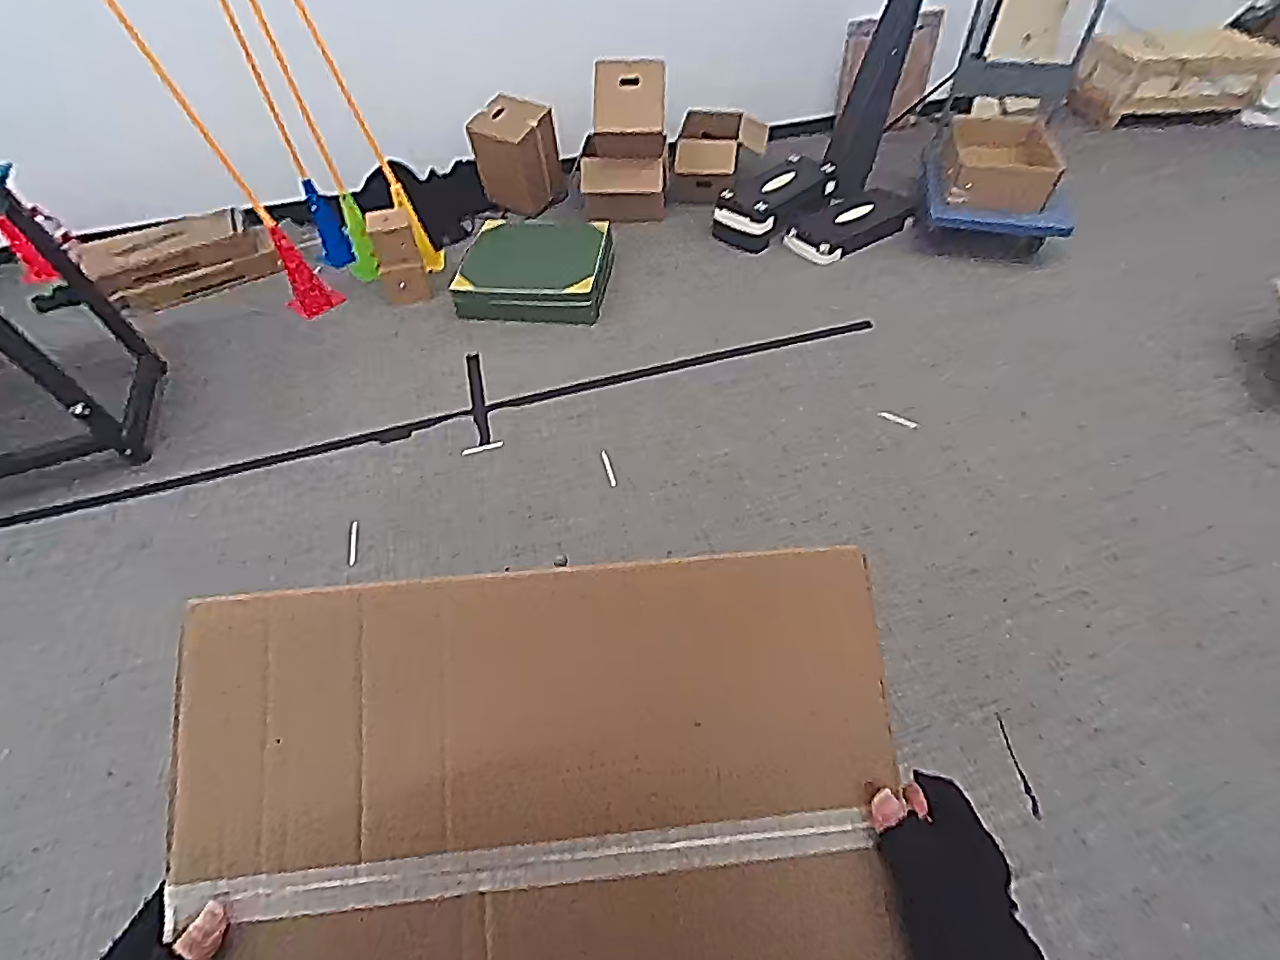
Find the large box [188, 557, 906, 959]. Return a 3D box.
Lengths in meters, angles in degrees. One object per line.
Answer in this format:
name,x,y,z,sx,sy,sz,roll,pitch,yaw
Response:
large box,-0.056,0.243,0.459,0.408,0.320,0.320,-5,80,-4
